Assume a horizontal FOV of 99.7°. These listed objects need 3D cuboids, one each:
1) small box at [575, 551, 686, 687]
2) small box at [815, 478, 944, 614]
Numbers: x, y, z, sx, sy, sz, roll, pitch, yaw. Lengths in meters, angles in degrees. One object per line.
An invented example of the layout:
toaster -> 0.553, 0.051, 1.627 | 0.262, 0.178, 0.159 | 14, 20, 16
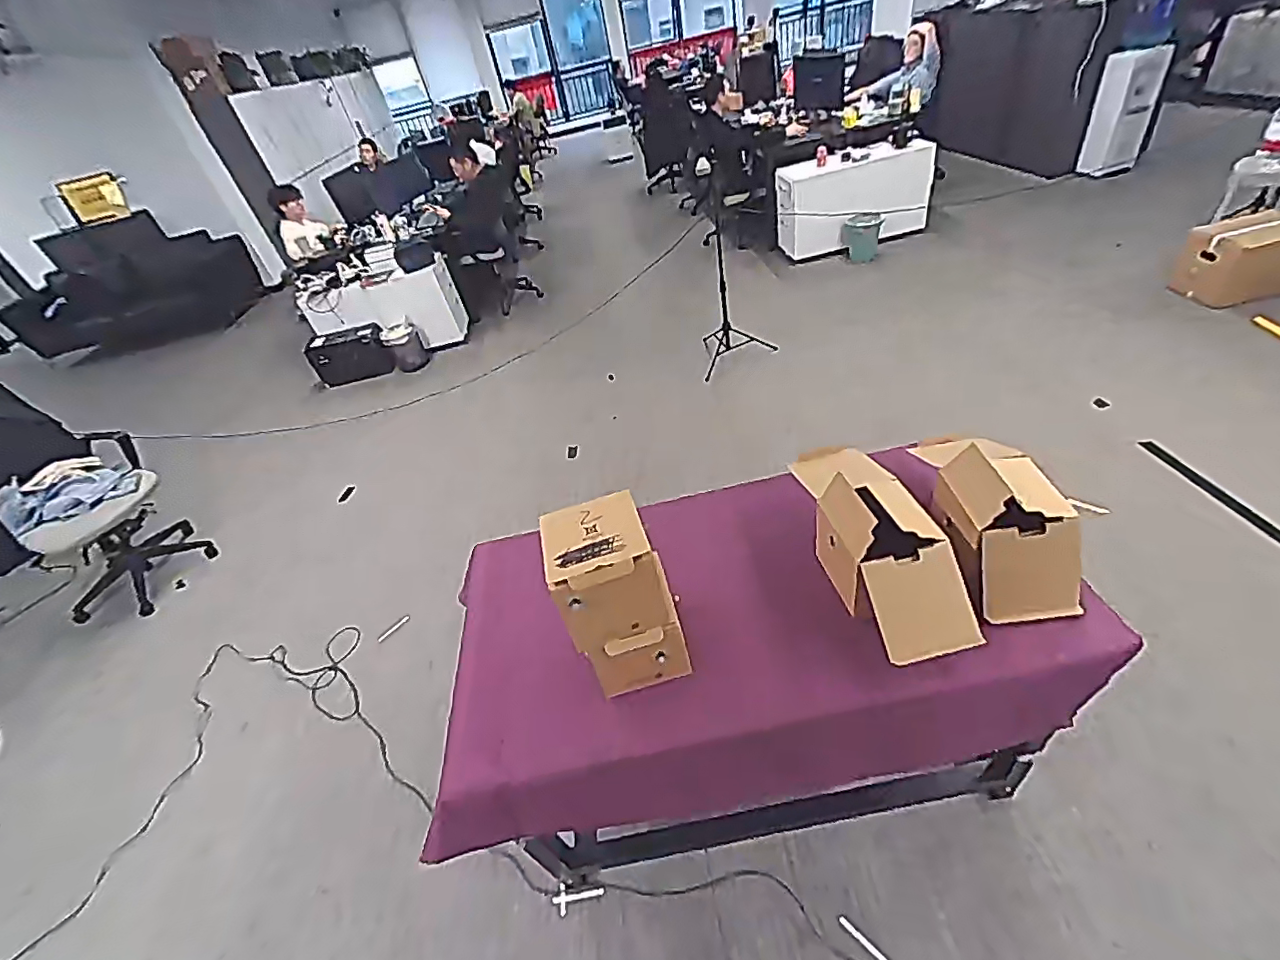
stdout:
small box -> -0.016, 0.271, 1.030 | 0.168, 0.176, 0.179 | -15, 40, -2
small box -> 0.450, 0.128, 1.049 | 0.168, 0.176, 0.179 | -15, 40, 1
